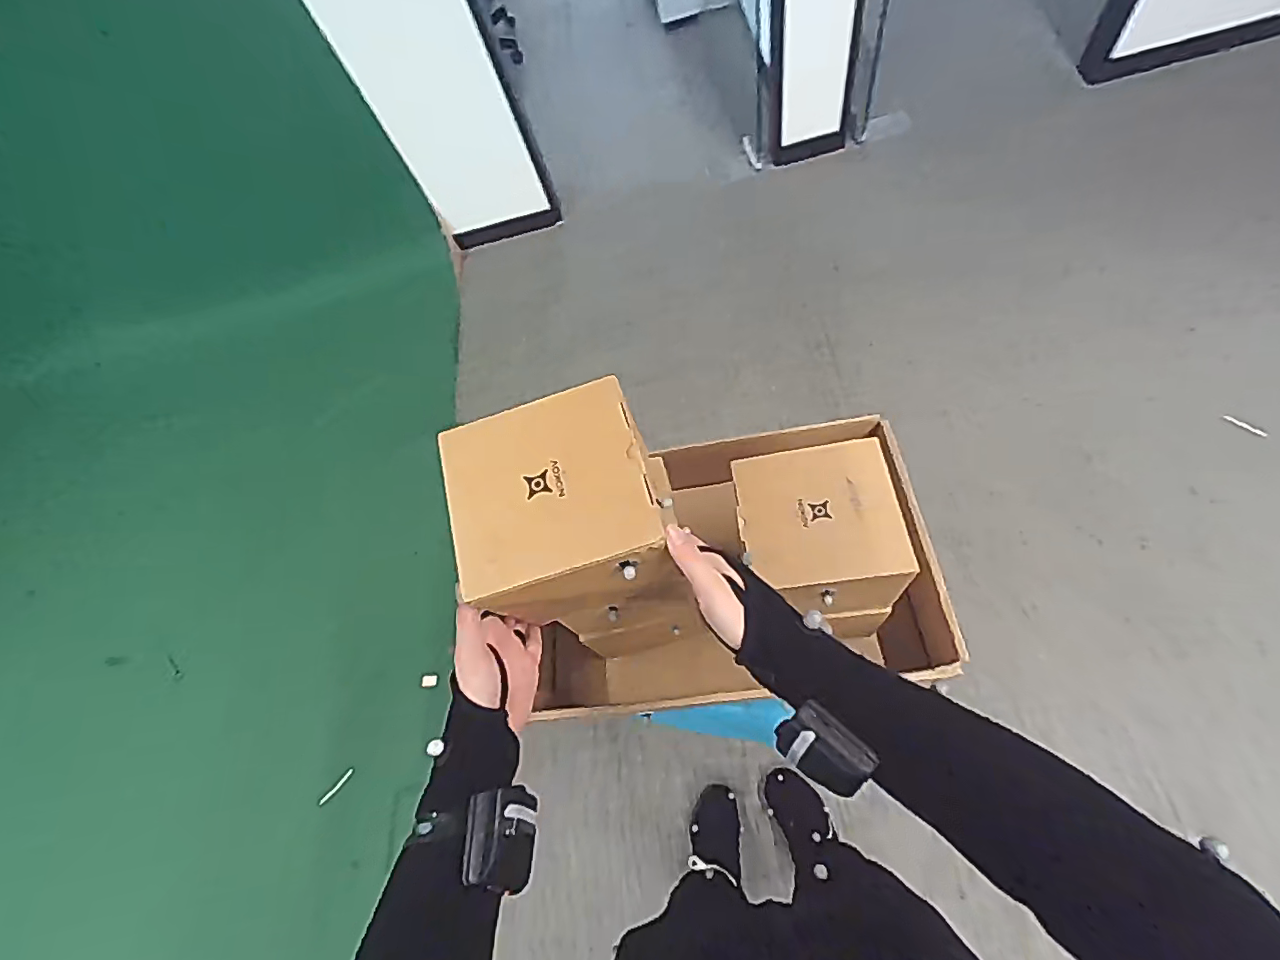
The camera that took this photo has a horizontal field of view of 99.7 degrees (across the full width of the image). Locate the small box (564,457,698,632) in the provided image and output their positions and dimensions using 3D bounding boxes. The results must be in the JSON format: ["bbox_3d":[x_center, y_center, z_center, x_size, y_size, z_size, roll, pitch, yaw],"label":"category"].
[{"bbox_3d":[-0.029,0.095,0.723,0.179,0.176,0.168,-13,63,5],"label":"small box"}]

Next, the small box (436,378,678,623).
[{"bbox_3d":[-0.073,0.033,0.536,0.179,0.176,0.168,-18,68,2],"label":"small box"}]

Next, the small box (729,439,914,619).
[{"bbox_3d":[0.215,0.071,0.677,0.179,0.176,0.168,-9,63,10],"label":"small box"}]
